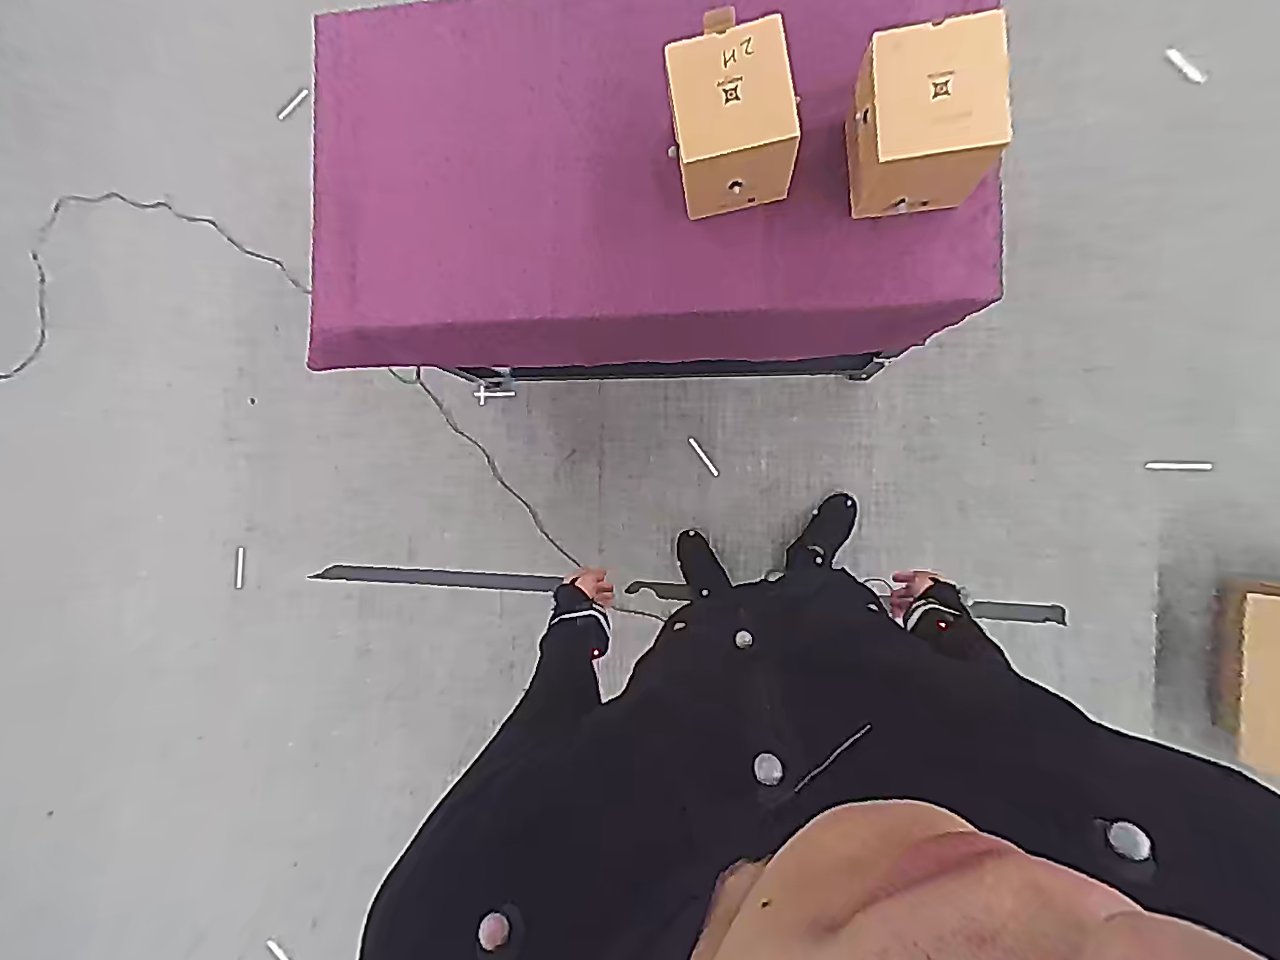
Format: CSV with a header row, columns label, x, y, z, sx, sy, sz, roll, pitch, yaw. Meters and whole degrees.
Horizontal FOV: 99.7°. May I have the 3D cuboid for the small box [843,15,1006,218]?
label,x,y,z,sx,sy,sz,roll,pitch,yaw
small box,0.404,-0.520,0.797,0.168,0.176,0.179,-3,88,9

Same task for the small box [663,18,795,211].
label,x,y,z,sx,sy,sz,roll,pitch,yaw
small box,0.136,-0.543,0.837,0.168,0.176,0.179,-9,88,8
